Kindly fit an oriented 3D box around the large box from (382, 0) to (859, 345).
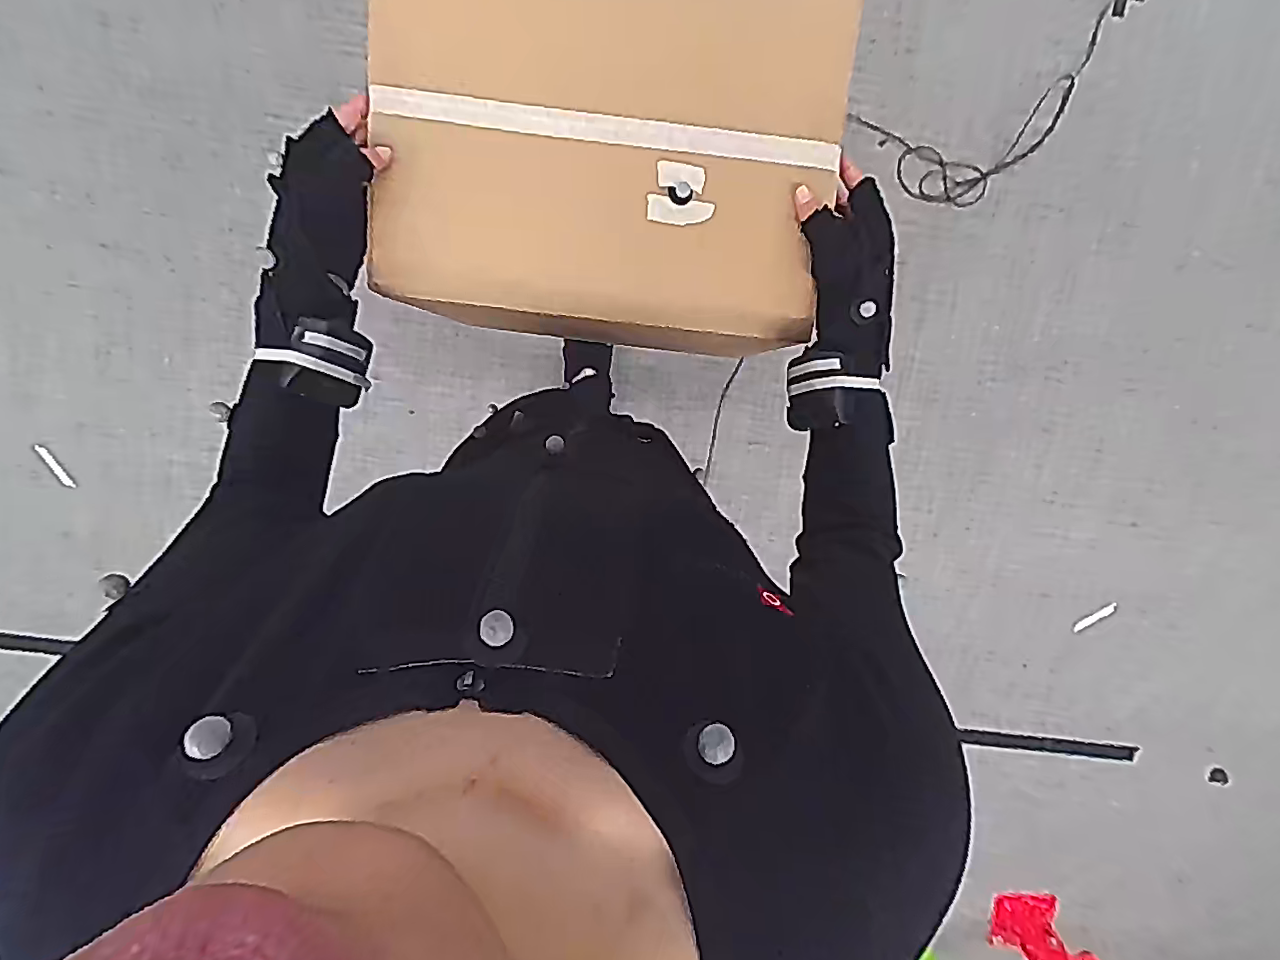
[{"bbox_3d":[-0.029,-0.337,0.616,0.408,0.320,0.320,5,101,-3],"label":"large box"}]
